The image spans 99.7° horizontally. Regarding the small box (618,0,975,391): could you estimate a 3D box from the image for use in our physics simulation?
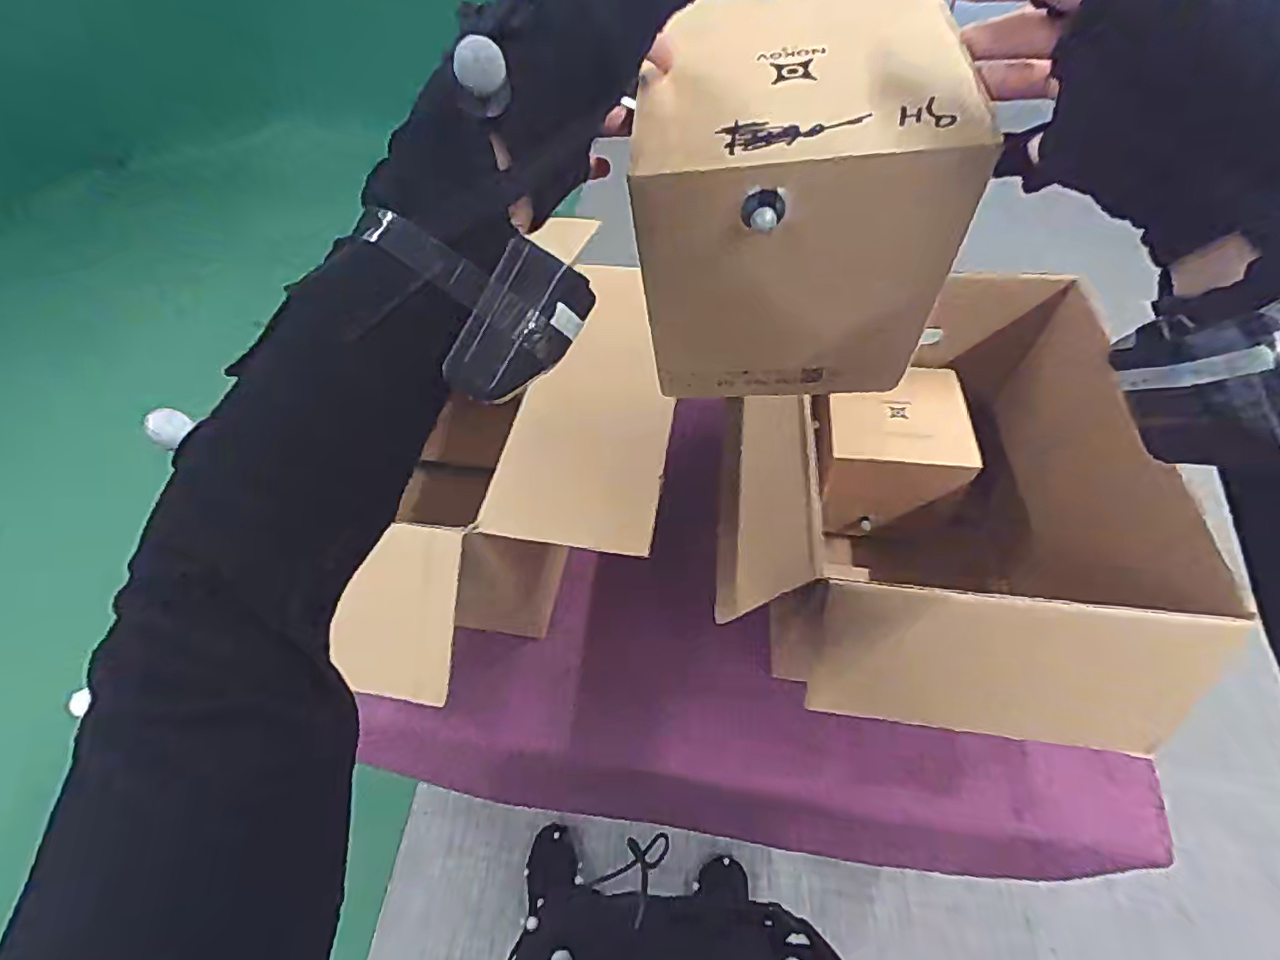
[{"bbox_3d":[0.087,-0.180,0.362,0.168,0.176,0.179,0,59,10],"label":"small box"}]
